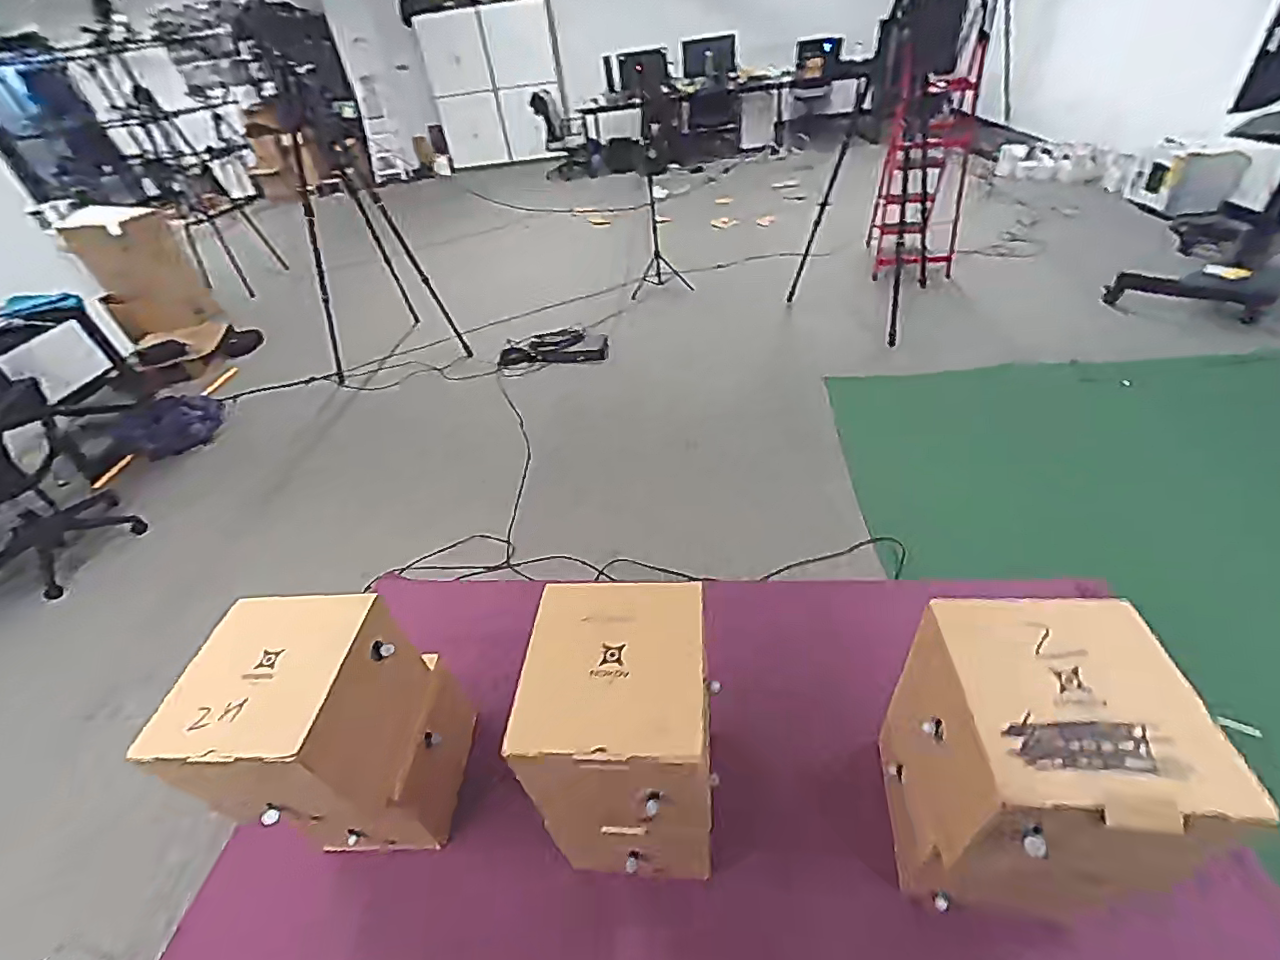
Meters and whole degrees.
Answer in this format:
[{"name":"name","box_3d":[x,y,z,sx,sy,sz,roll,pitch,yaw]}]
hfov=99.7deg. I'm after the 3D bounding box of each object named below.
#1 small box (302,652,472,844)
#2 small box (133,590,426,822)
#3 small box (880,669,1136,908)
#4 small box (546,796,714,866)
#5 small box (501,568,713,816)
[{"name":"small box","box_3d":[-0.333,0.348,0.704,0.168,0.176,0.179,-4,41,4]},{"name":"small box","box_3d":[-0.354,0.240,0.579,0.168,0.176,0.179,-4,42,6]},{"name":"small box","box_3d":[0.374,0.336,0.593,0.168,0.176,0.179,1,41,12]},{"name":"small box","box_3d":[-0.001,0.344,0.653,0.168,0.176,0.179,-4,40,7]},{"name":"small box","box_3d":[-0.014,0.208,0.532,0.168,0.176,0.179,-2,41,8]}]
